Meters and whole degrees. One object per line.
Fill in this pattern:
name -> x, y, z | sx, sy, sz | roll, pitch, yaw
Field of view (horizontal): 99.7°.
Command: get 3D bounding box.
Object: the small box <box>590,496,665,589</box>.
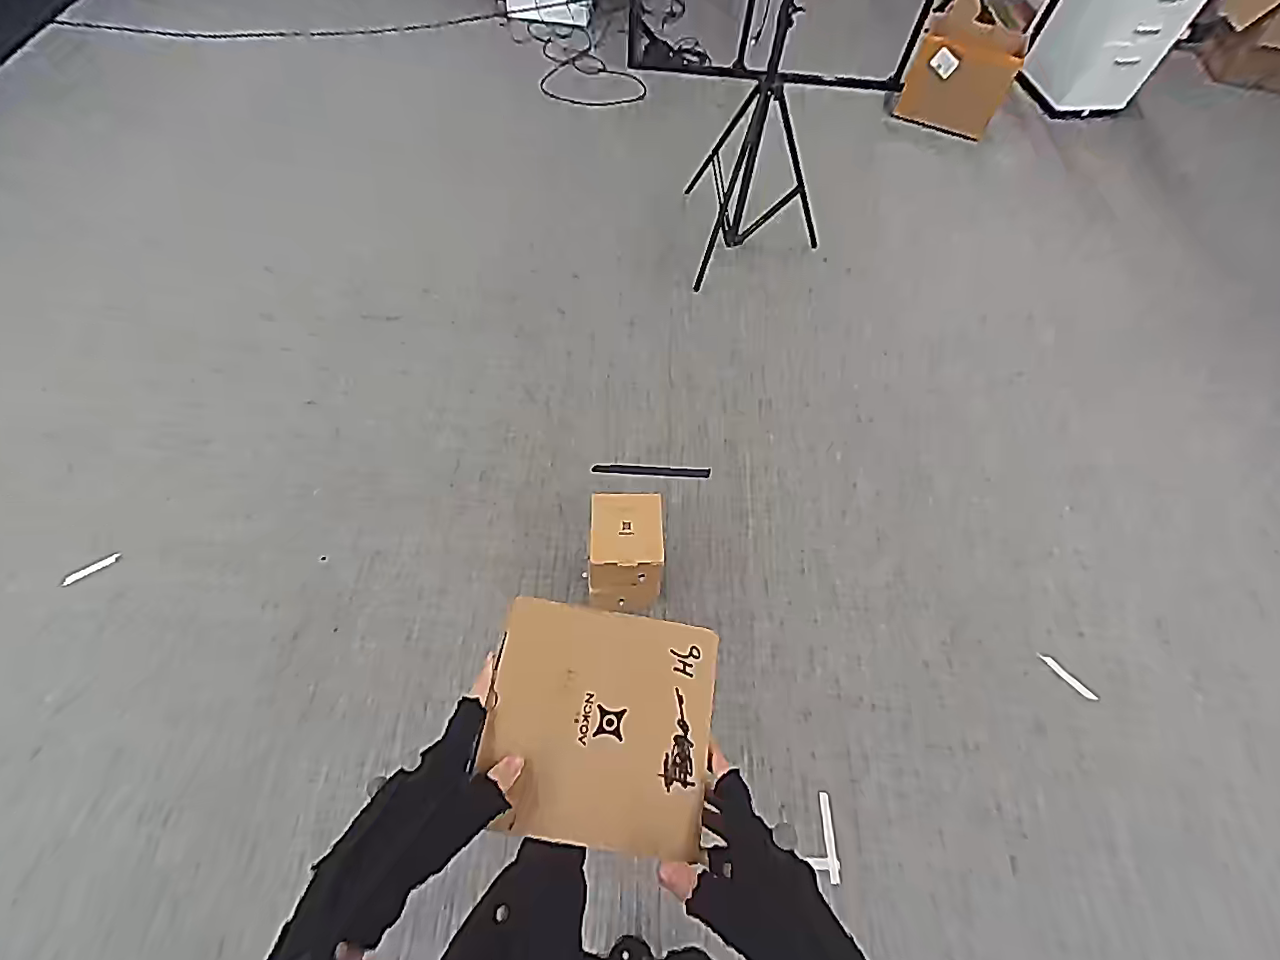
small box -> -0.033, 0.154, 1.286 | 0.168, 0.176, 0.179 | 1, 60, -5

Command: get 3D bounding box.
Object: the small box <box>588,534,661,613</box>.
small box -> -0.046, 0.245, 1.421 | 0.179, 0.176, 0.168 | -4, 61, -4
